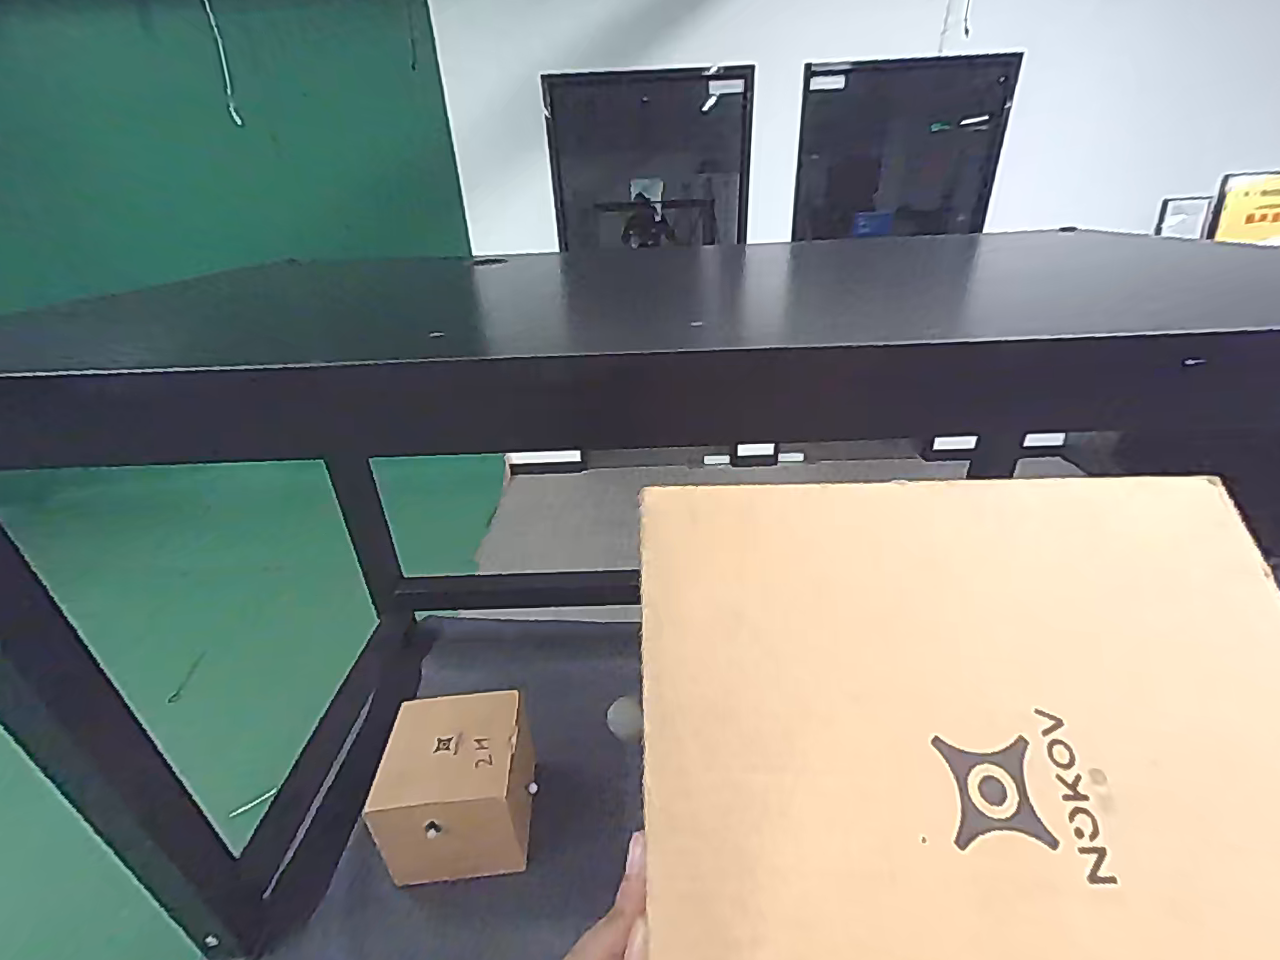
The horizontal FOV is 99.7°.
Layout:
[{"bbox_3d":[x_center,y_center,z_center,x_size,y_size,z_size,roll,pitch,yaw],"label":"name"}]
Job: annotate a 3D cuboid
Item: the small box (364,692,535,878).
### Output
[{"bbox_3d":[-0.254,0.431,0.768,0.179,0.176,0.168,-4,28,-3],"label":"small box"}]
